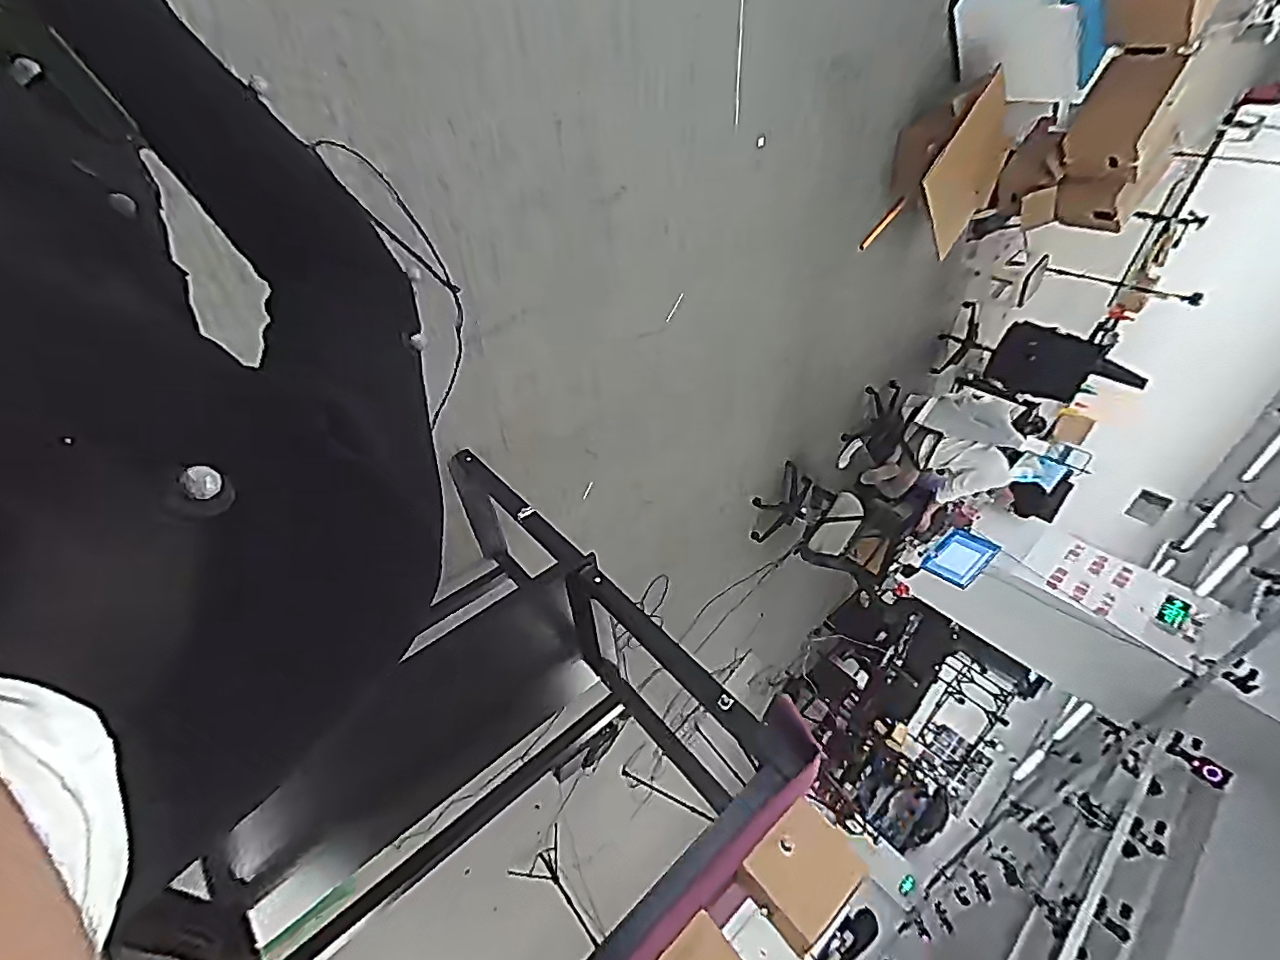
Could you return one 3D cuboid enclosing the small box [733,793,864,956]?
[{"bbox_3d":[0.300,0.764,1.057,0.179,0.176,0.168,-32,140,-26],"label":"small box"}]

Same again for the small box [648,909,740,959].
[{"bbox_3d":[0.093,0.891,0.930,0.168,0.176,0.179,-29,139,-30],"label":"small box"}]
